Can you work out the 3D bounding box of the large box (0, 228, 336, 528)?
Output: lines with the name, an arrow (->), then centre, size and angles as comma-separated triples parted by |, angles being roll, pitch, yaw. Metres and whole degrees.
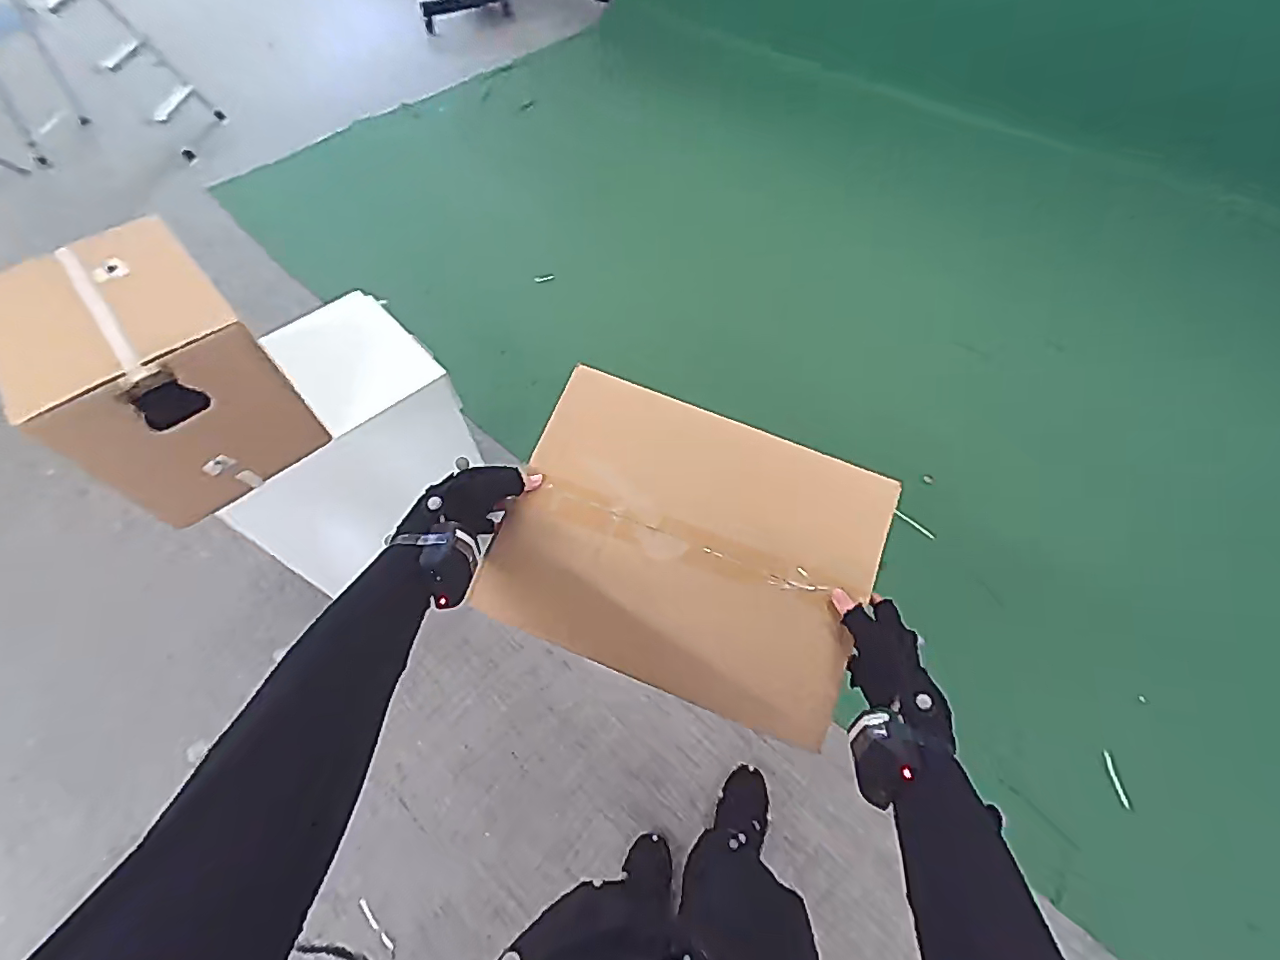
large box -> -0.863, -0.189, 1.006 | 0.320, 0.320, 0.408 | -38, 63, -22
